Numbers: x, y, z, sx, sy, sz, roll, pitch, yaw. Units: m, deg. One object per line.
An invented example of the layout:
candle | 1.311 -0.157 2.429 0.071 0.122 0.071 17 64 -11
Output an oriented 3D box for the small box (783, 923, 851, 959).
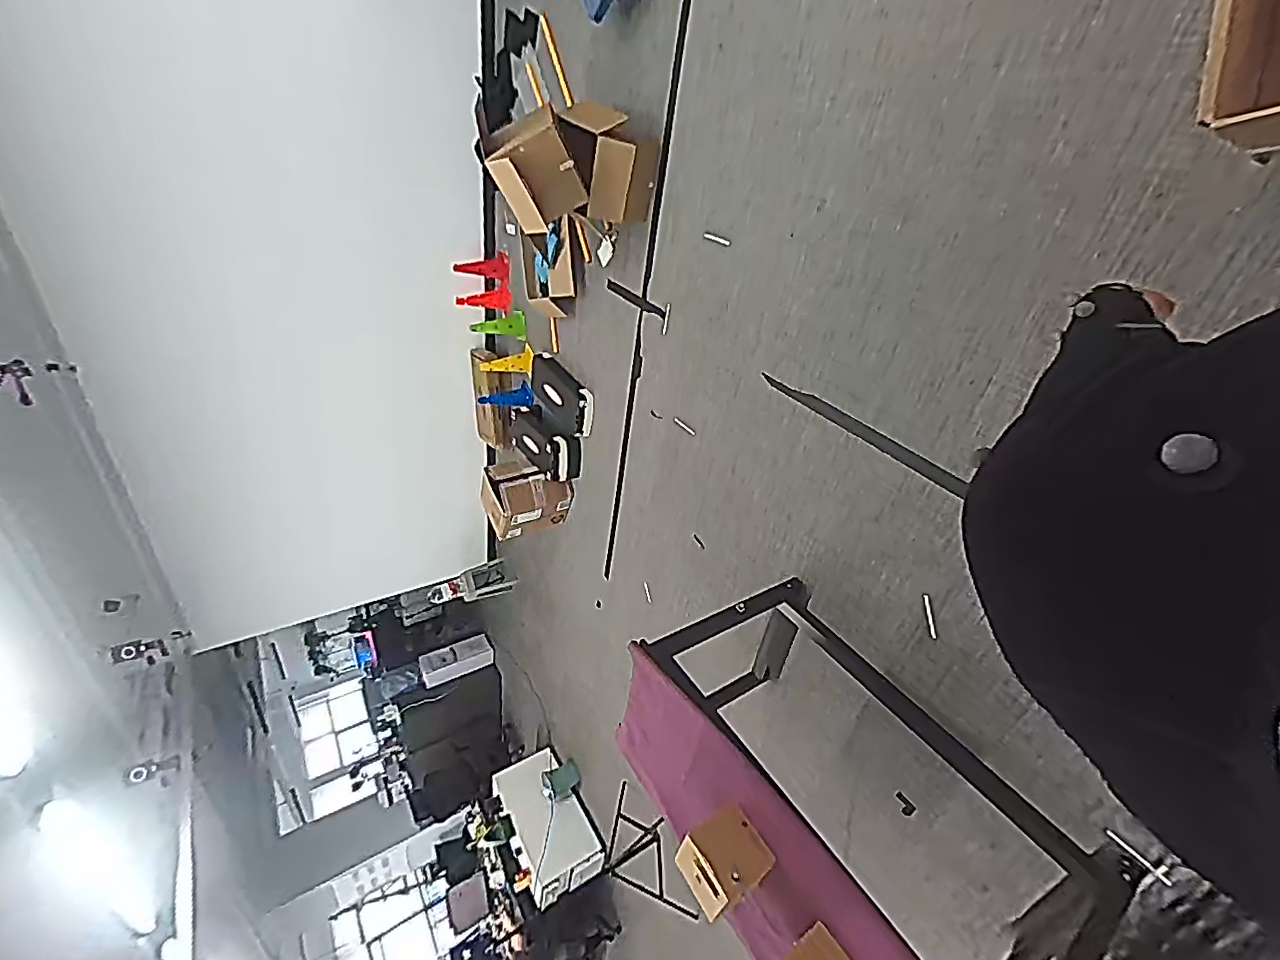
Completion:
small box | 0.400 1.154 1.202 0.179 0.176 0.168 41 134 44
